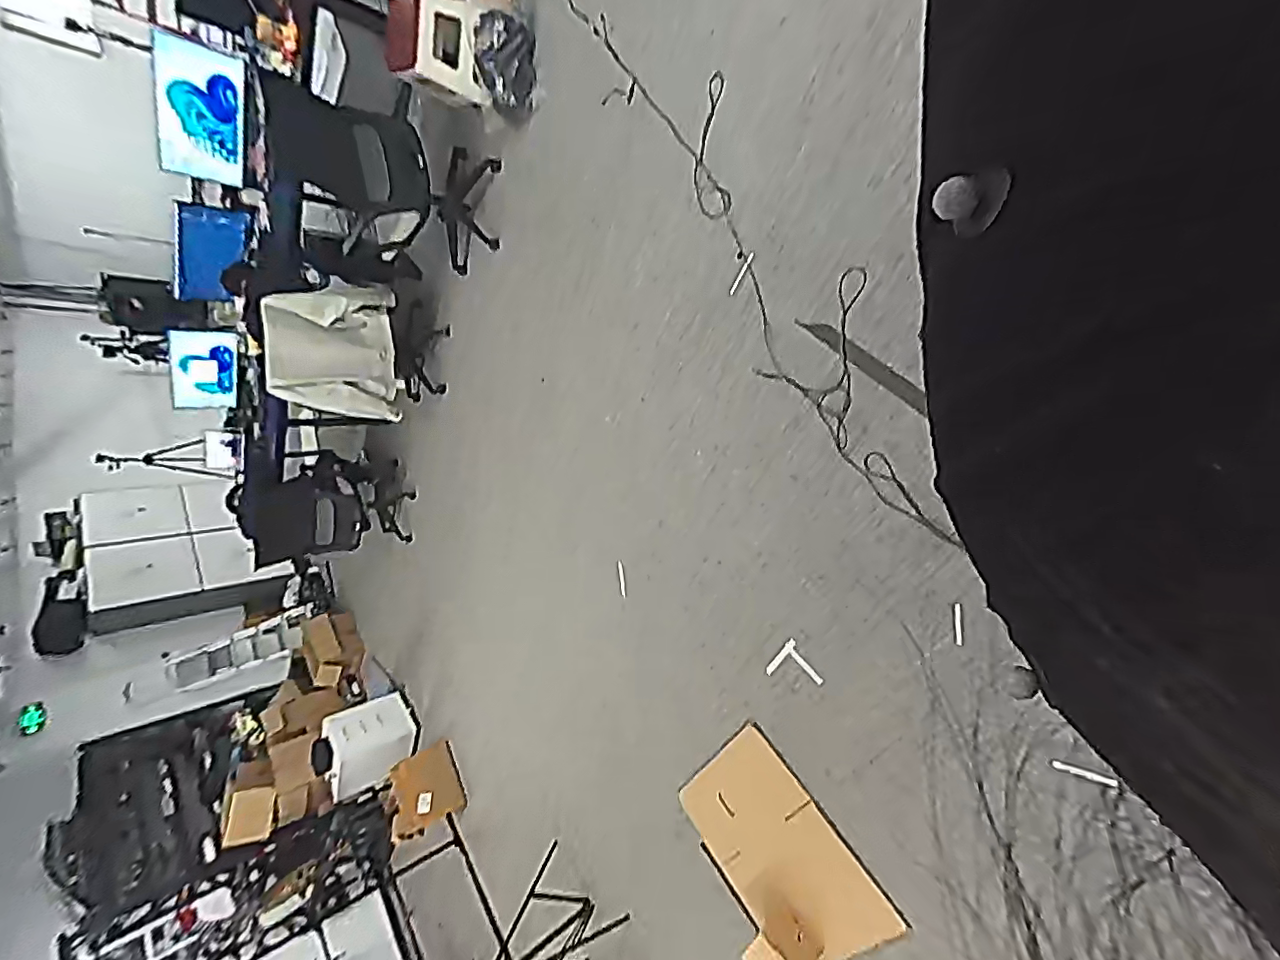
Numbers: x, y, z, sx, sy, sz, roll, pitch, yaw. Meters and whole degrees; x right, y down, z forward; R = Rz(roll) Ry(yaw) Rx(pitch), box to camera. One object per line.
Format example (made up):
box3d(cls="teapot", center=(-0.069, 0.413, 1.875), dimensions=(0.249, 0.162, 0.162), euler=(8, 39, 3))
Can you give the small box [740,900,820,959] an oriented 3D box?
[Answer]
box3d(cls="small box", center=(0.475, 1.584, 1.823), dimensions=(0.168, 0.176, 0.179), euler=(39, 122, 34))
